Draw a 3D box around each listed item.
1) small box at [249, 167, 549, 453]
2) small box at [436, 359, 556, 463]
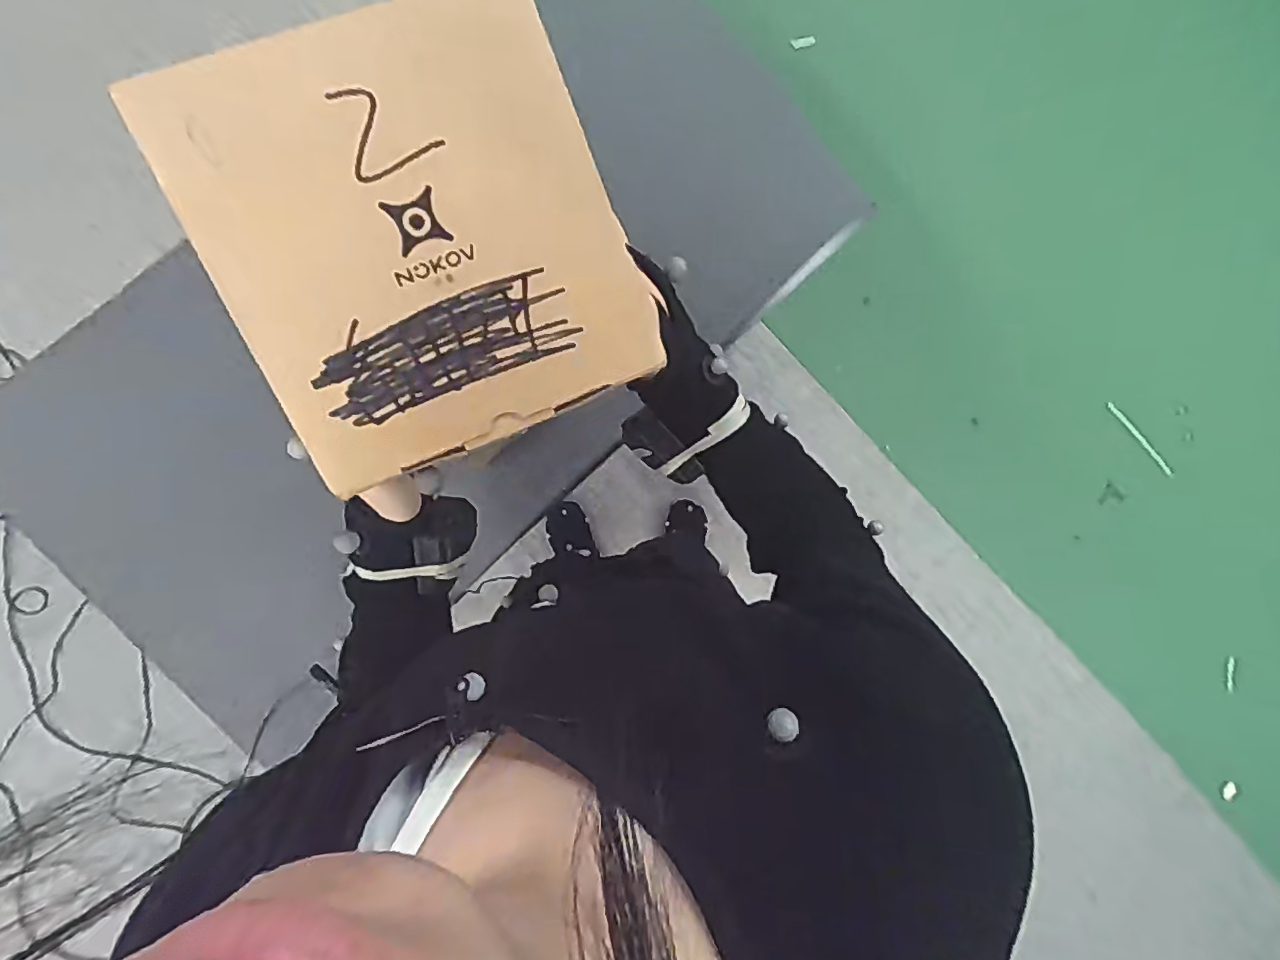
[{"bbox_3d":[-0.207,-0.142,0.523,0.179,0.176,0.168,45,84,-3],"label":"small box"},{"bbox_3d":[-0.225,-0.136,0.684,0.168,0.176,0.179,-45,93,-5],"label":"small box"}]
